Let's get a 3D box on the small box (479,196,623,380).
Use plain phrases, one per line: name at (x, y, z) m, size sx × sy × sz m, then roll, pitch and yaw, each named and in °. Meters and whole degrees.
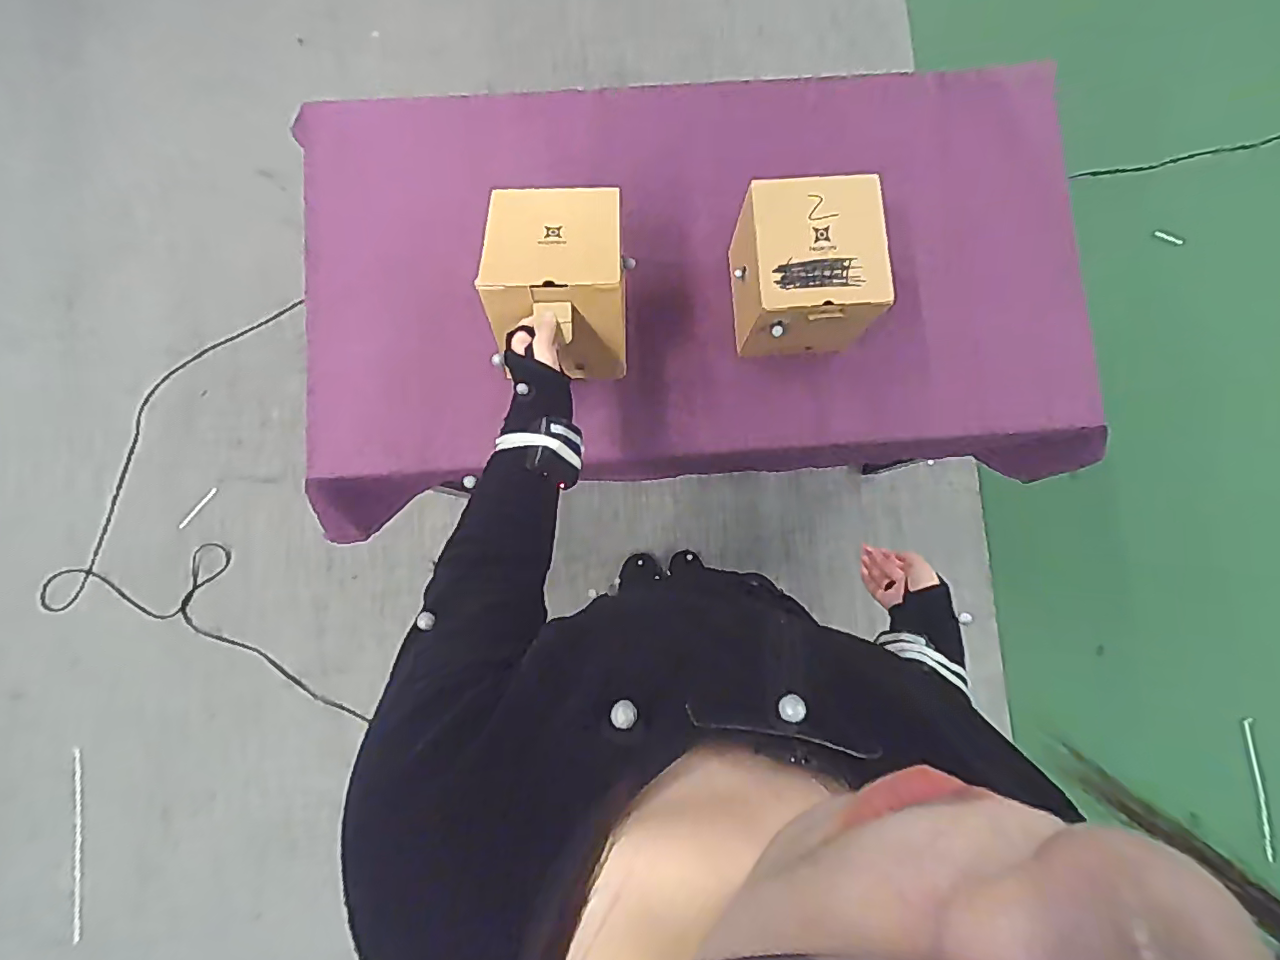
small box at (-0.109, -0.258, 0.740) m, size 0.168 × 0.176 × 0.179 m, roll -1°, pitch 63°, yaw 0°
